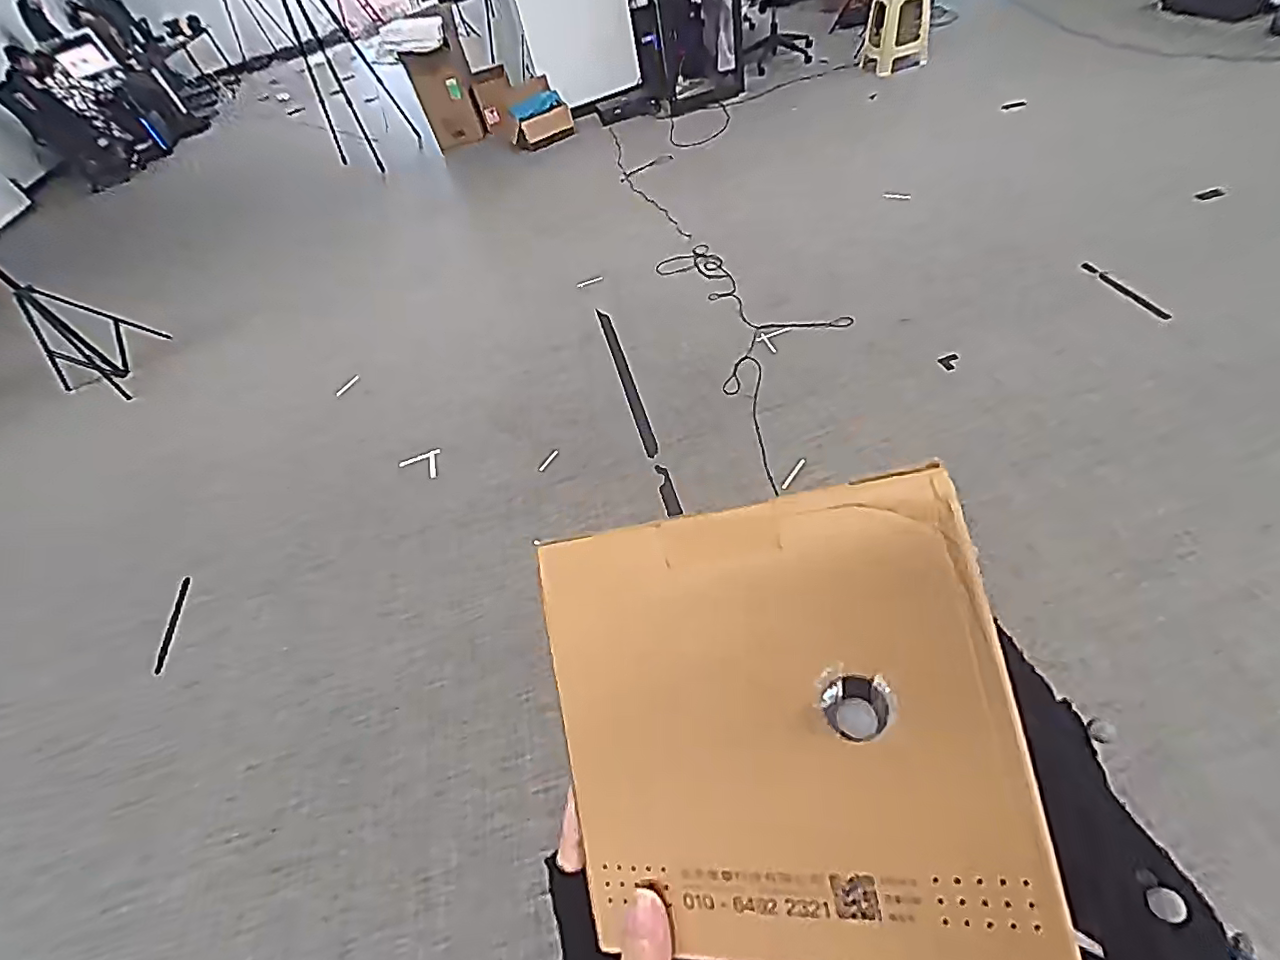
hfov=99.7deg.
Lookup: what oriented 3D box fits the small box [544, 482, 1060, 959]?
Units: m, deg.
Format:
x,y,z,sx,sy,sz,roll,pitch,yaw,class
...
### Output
x,y,z,sx,sy,sz,roll,pitch,yaw,class
0.077,0.102,0.279,0.168,0.179,0.176,-13,83,21,small box
